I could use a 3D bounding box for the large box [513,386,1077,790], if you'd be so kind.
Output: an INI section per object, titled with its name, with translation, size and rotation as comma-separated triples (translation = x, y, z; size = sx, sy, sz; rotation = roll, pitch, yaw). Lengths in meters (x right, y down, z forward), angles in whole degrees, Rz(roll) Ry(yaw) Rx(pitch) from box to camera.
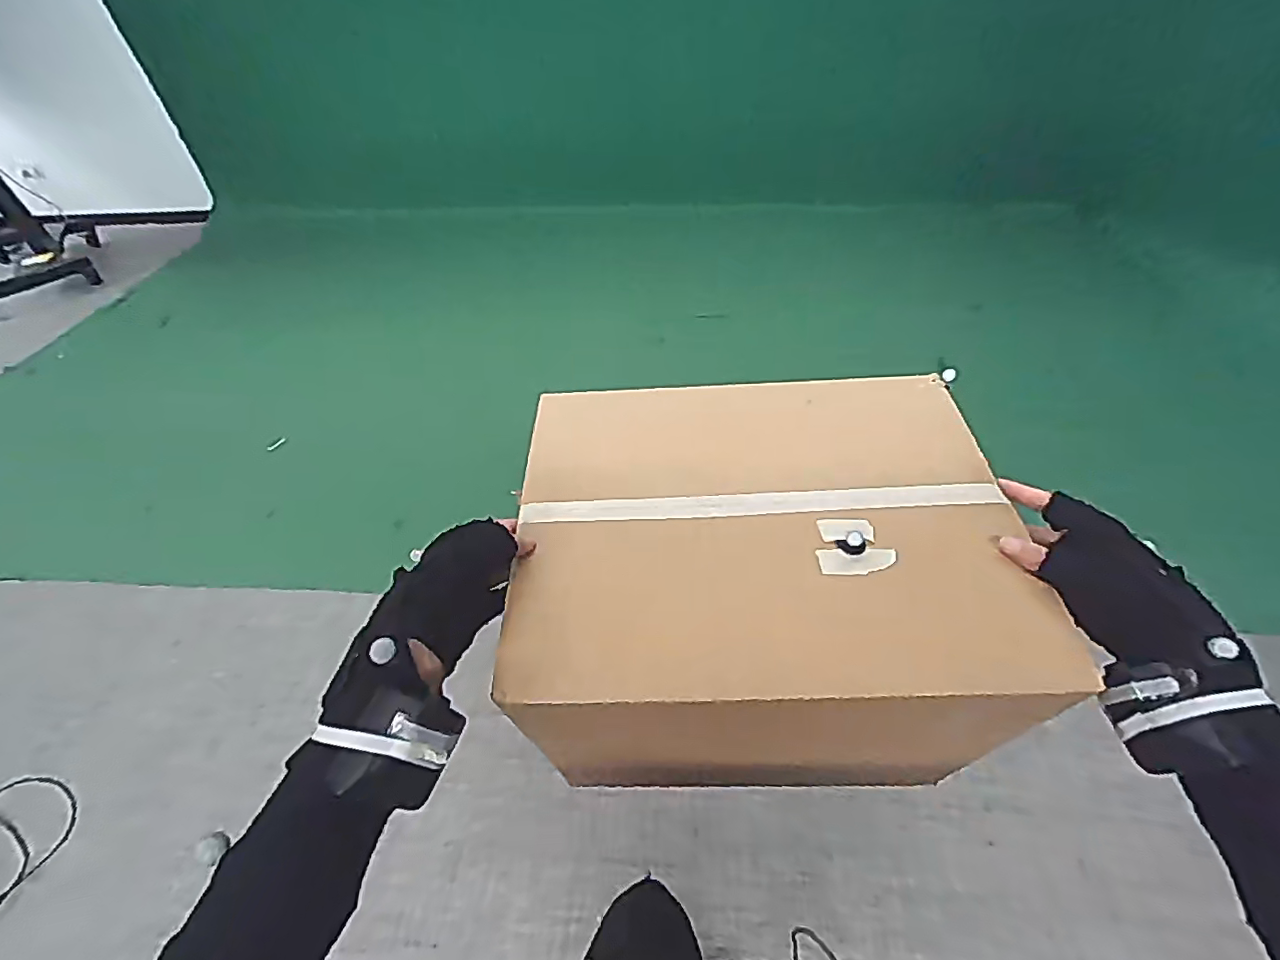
[large box]
translation = 0.111, 0.127, 0.586
size = 0.408, 0.320, 0.320
rotation = -3, 51, 3
